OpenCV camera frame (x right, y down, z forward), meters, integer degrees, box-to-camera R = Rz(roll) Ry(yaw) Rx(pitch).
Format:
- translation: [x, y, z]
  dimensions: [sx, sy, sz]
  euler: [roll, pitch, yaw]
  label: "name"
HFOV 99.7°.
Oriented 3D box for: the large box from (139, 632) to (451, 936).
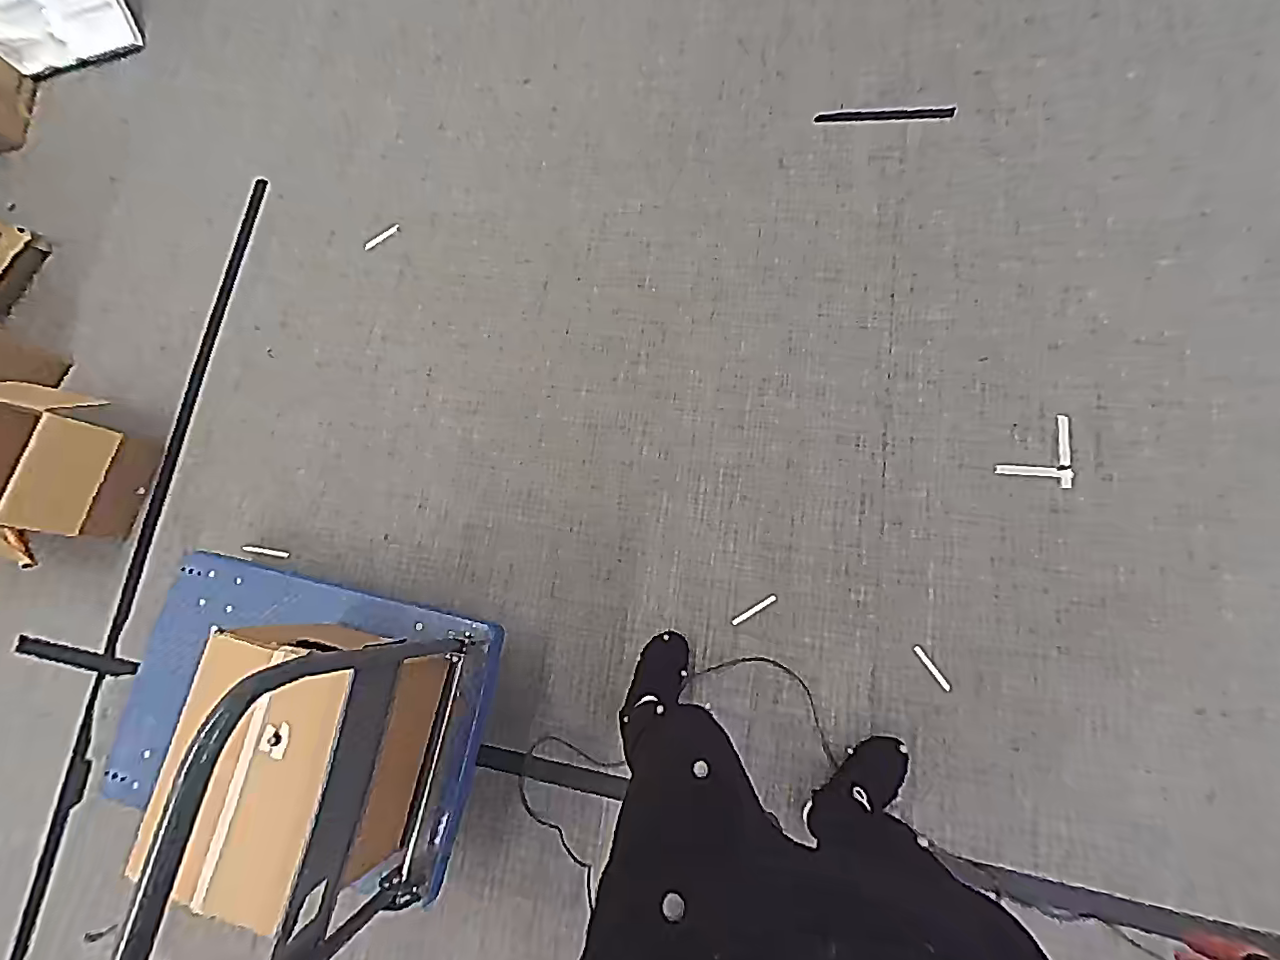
- translation: [-0.622, 0.530, 1.045]
  dimensions: [0.320, 0.320, 0.408]
  euler: [10, 77, 11]
  label: "large box"
